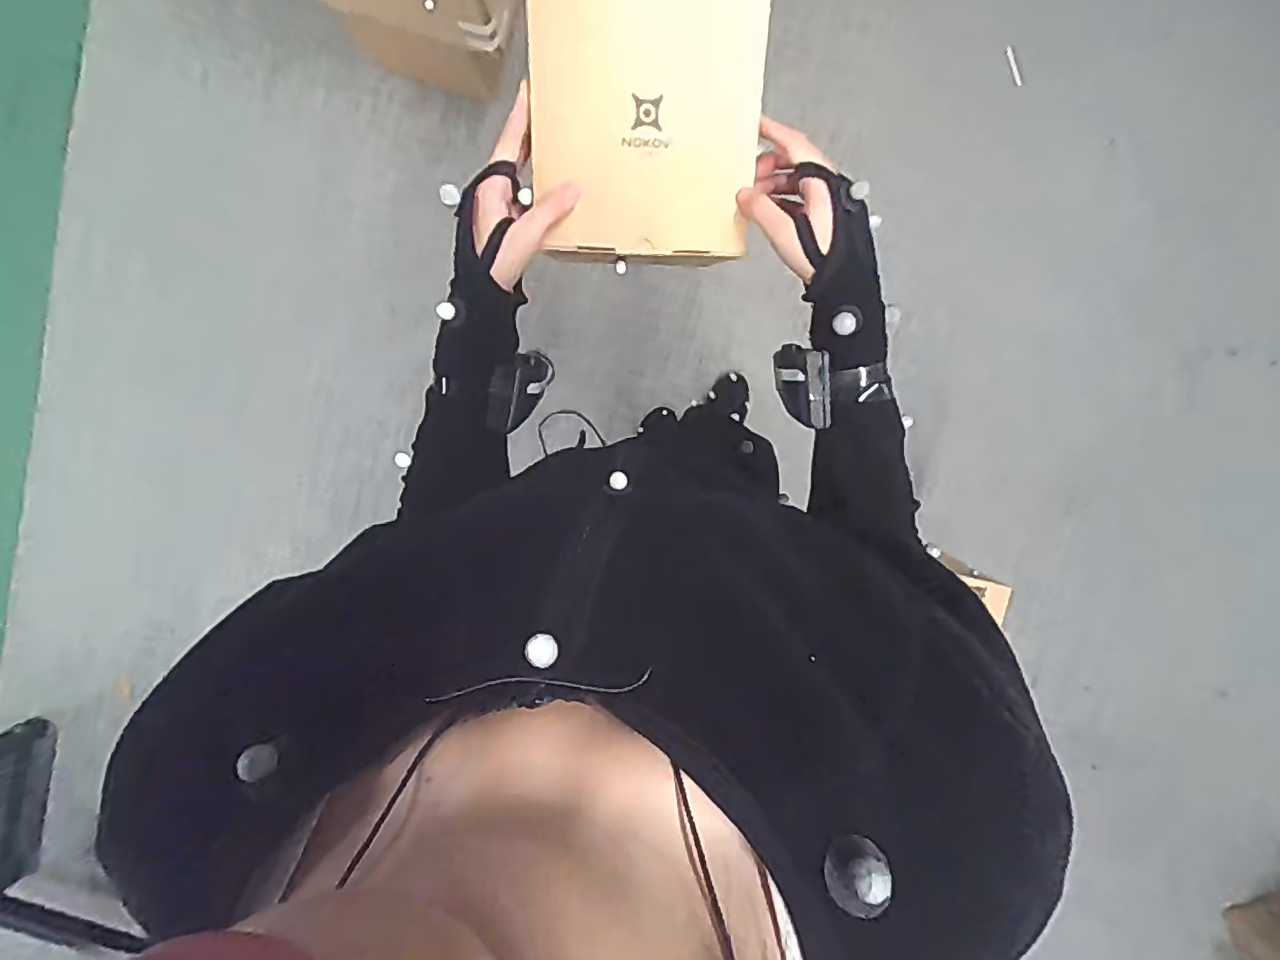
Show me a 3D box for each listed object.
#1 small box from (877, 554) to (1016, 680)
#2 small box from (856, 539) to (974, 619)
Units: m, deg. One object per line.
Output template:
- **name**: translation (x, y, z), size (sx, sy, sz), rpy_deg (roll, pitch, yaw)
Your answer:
- **small box**: translation (0.610, 0.271, 1.104), size (0.168, 0.176, 0.179), rpy_deg (14, 97, 1)
- **small box**: translation (0.632, 0.252, 1.266), size (0.168, 0.176, 0.179), rpy_deg (16, 97, 1)
